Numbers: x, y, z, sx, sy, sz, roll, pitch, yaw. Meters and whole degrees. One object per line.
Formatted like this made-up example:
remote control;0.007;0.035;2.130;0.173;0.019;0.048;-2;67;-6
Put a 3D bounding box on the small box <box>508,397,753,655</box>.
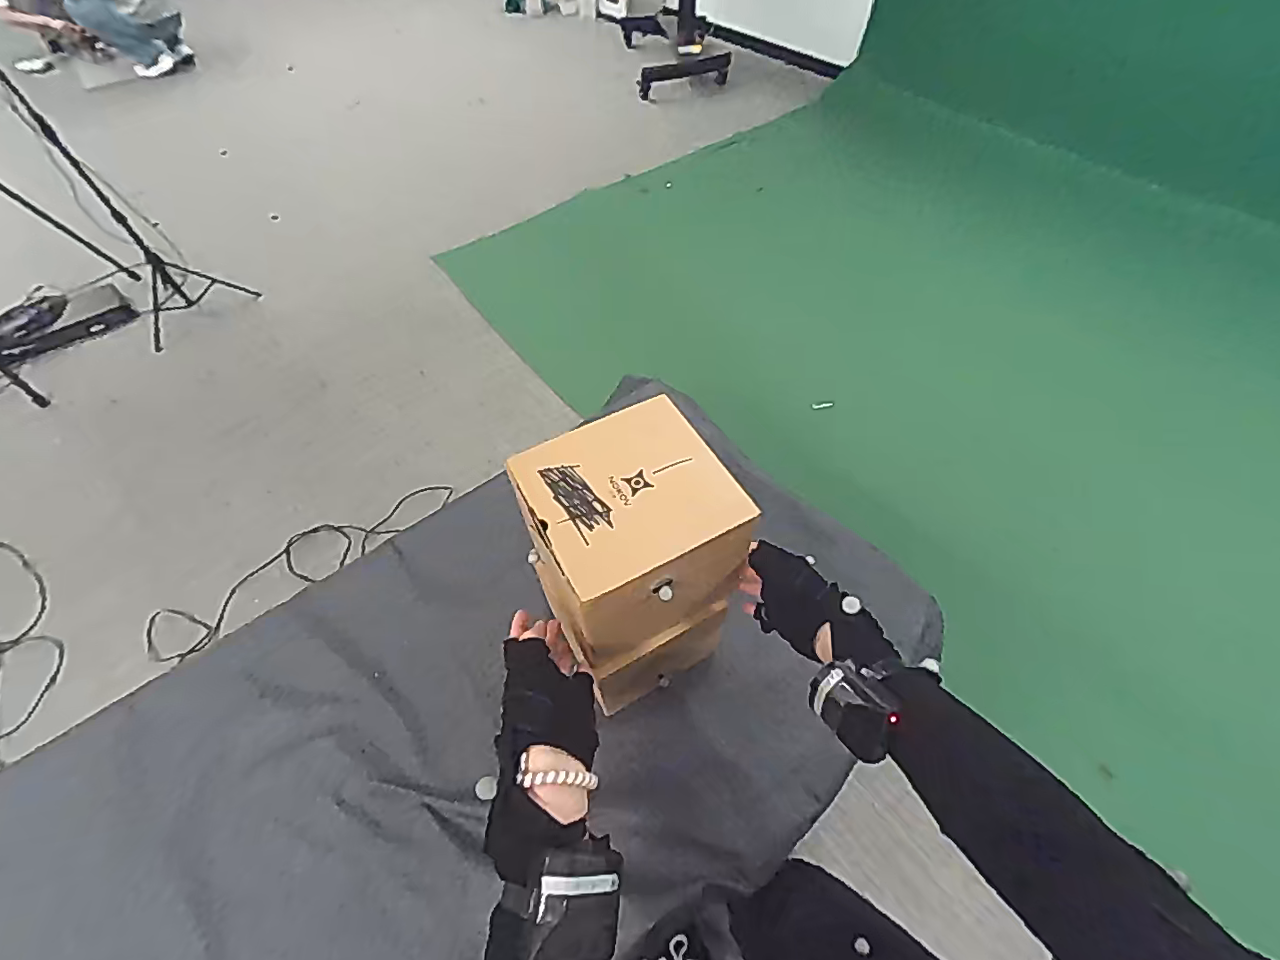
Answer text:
small box;-0.010;0.052;0.554;0.179;0.176;0.168;-25;59;-16
